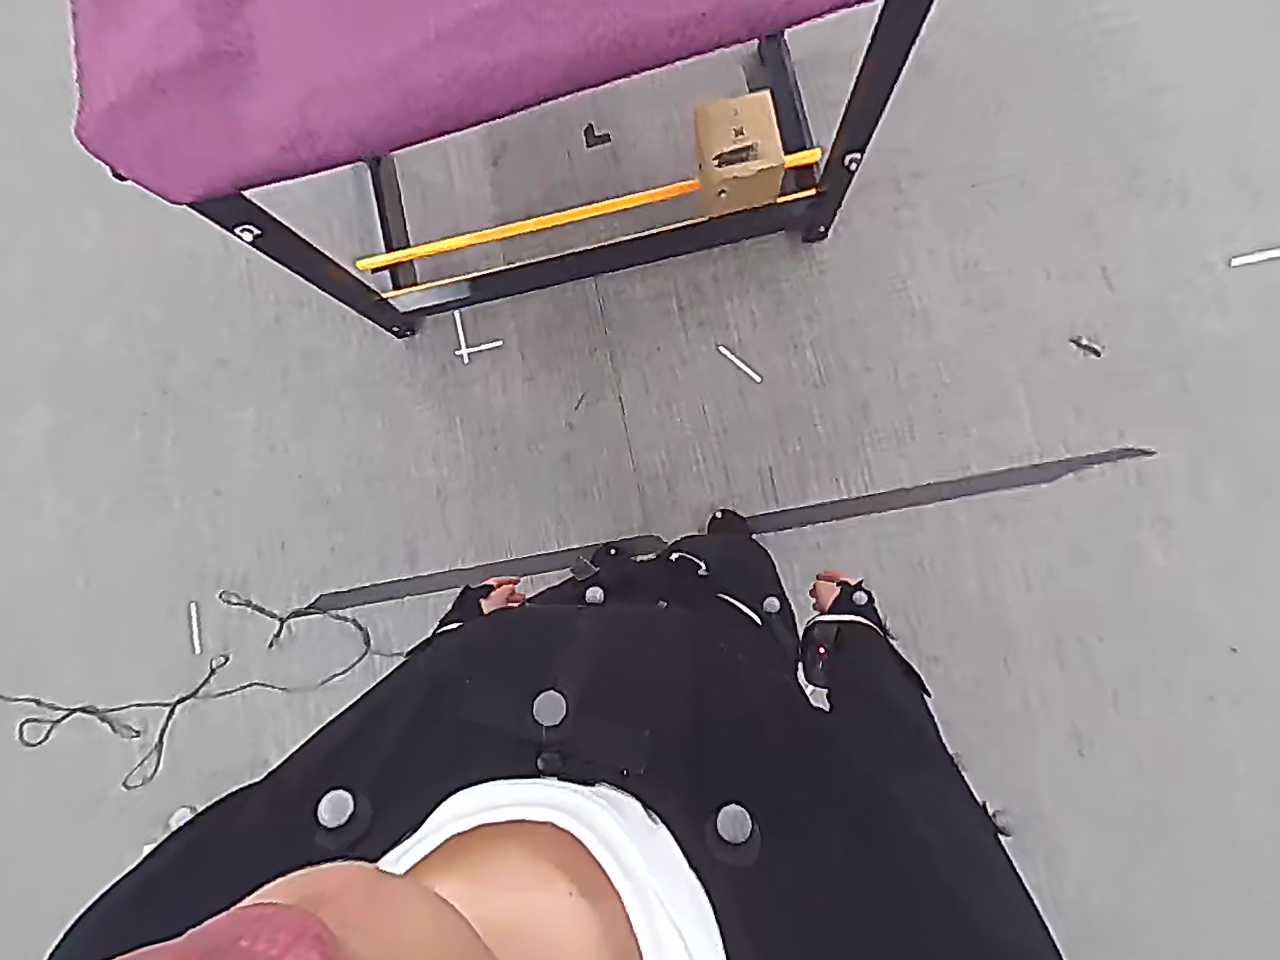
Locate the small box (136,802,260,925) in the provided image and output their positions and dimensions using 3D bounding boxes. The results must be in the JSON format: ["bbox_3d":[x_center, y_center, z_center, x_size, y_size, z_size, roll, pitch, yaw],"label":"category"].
[{"bbox_3d":[-1.070,0.929,1.323,0.168,0.176,0.179,-11,85,3],"label":"small box"}]
